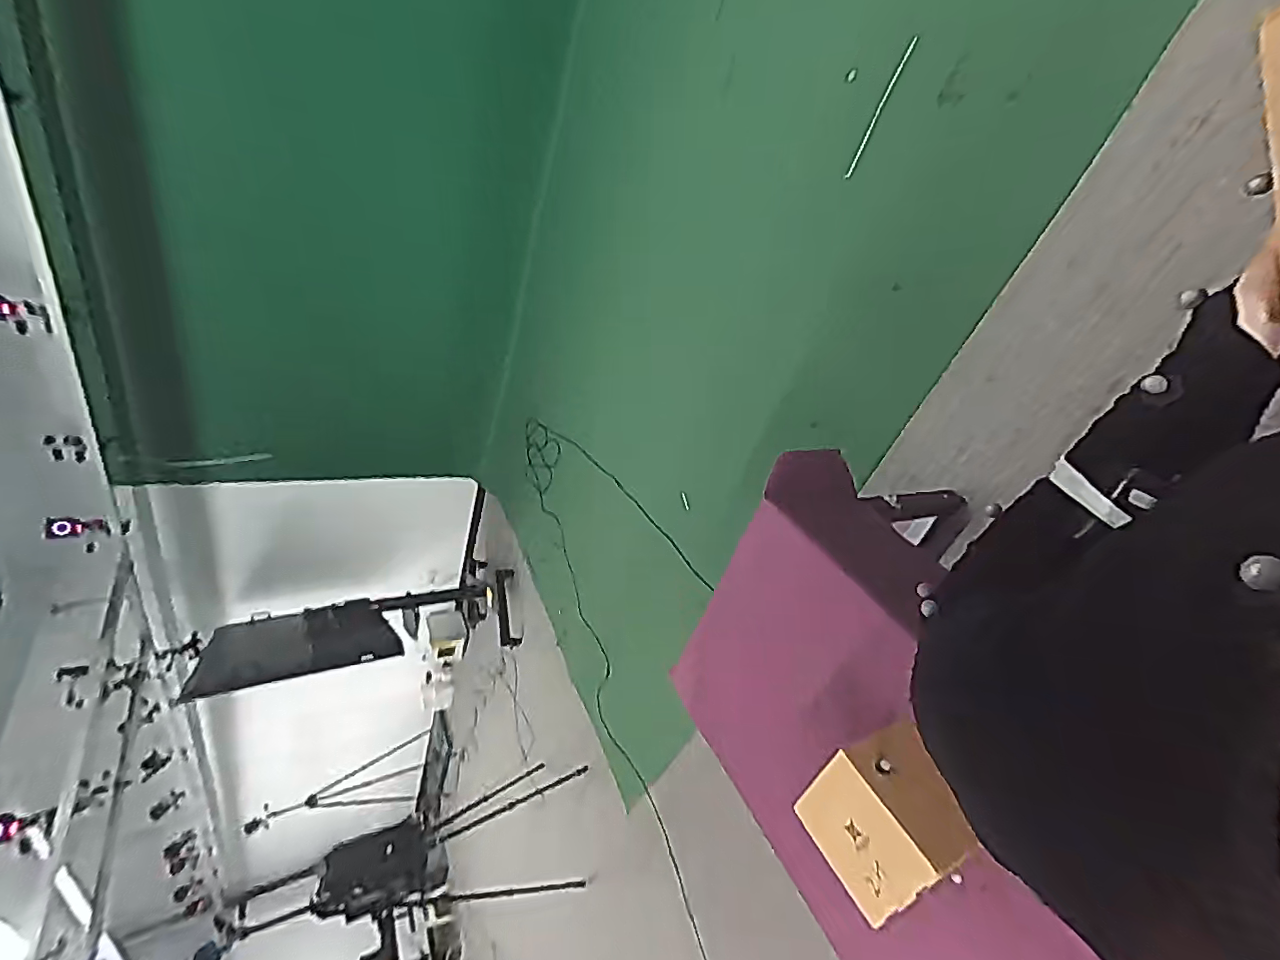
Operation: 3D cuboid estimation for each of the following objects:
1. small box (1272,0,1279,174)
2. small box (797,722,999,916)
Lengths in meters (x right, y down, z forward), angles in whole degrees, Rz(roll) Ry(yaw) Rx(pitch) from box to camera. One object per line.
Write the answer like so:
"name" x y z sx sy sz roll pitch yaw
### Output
"small box" 0.478 -0.195 0.289 0.168 0.176 0.179 -4 91 56
"small box" 0.381 0.492 0.813 0.179 0.176 0.168 51 133 42
